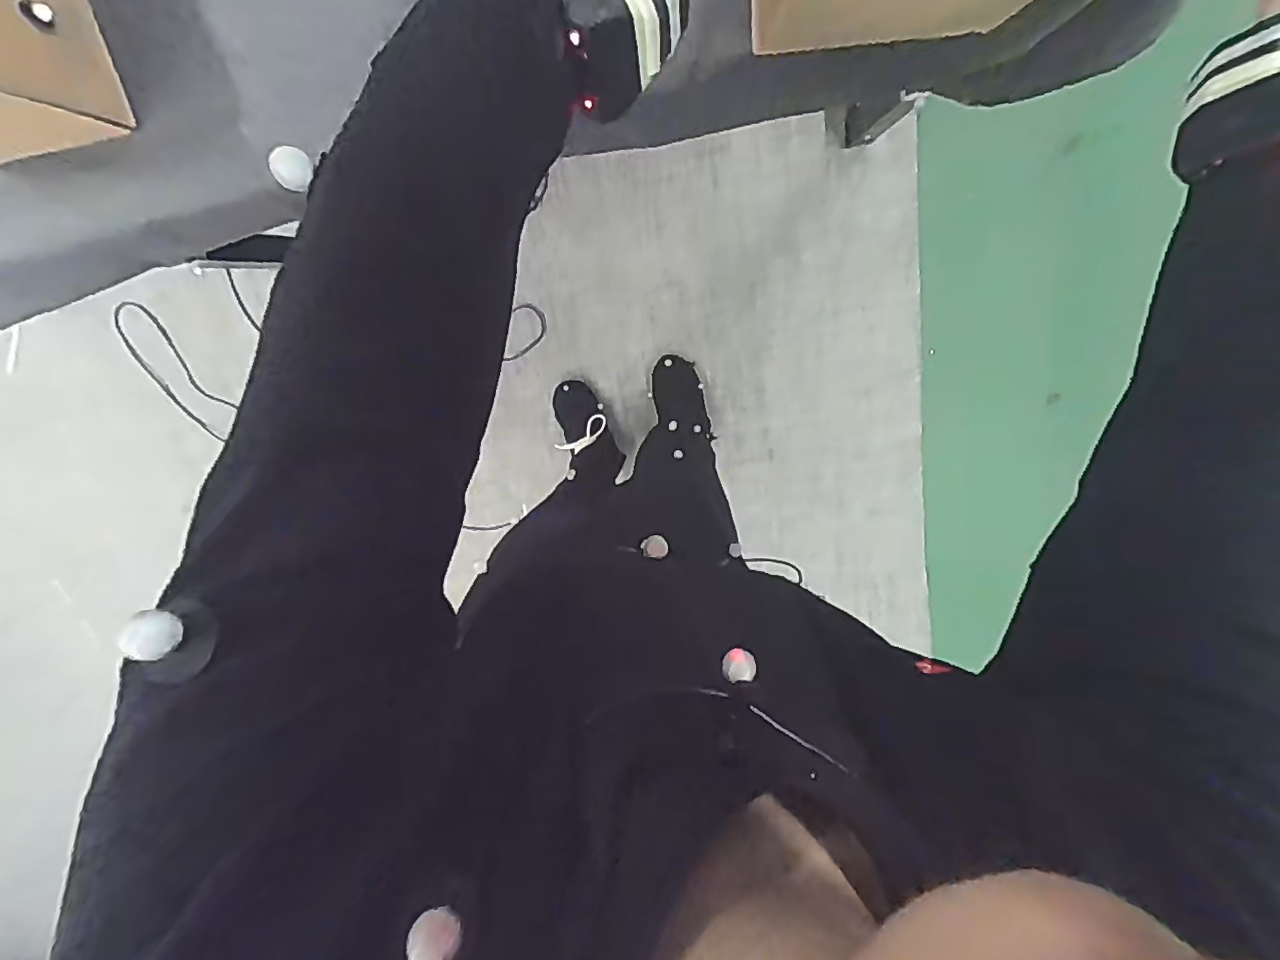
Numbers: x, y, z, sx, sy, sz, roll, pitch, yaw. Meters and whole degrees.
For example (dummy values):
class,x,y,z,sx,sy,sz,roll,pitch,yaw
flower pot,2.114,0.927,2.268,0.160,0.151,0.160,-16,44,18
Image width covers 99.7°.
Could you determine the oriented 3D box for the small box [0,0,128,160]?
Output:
class,x,y,z,sx,sy,sz,roll,pitch,yaw
small box,-0.572,-0.364,0.414,0.179,0.176,0.168,-7,108,8
